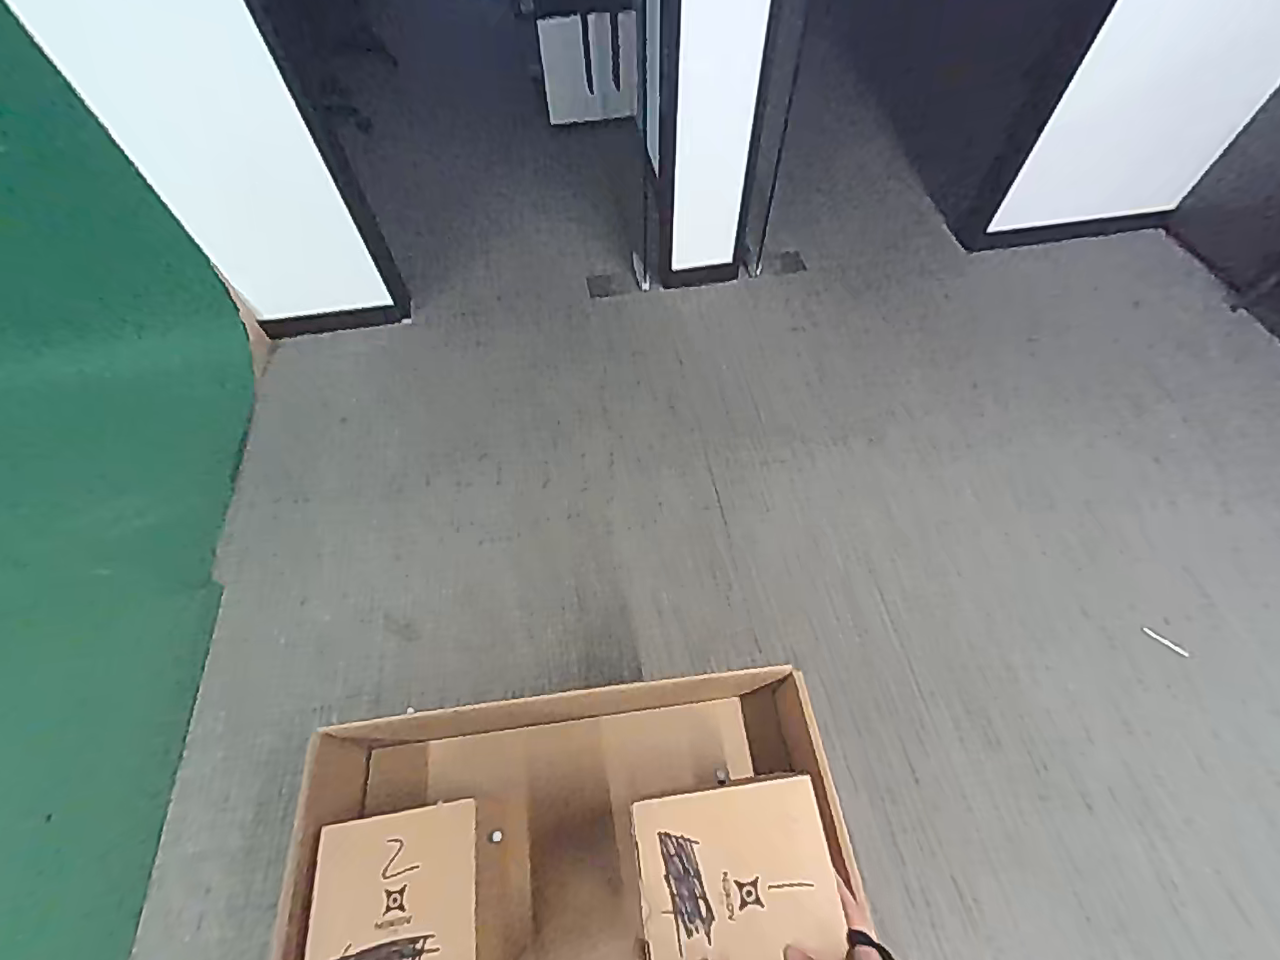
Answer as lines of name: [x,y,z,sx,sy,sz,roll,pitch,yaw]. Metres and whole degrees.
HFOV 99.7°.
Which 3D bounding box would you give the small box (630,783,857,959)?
small box: [0.092,0.405,0.534,0.179,0.176,0.168,-9,62,-1]
